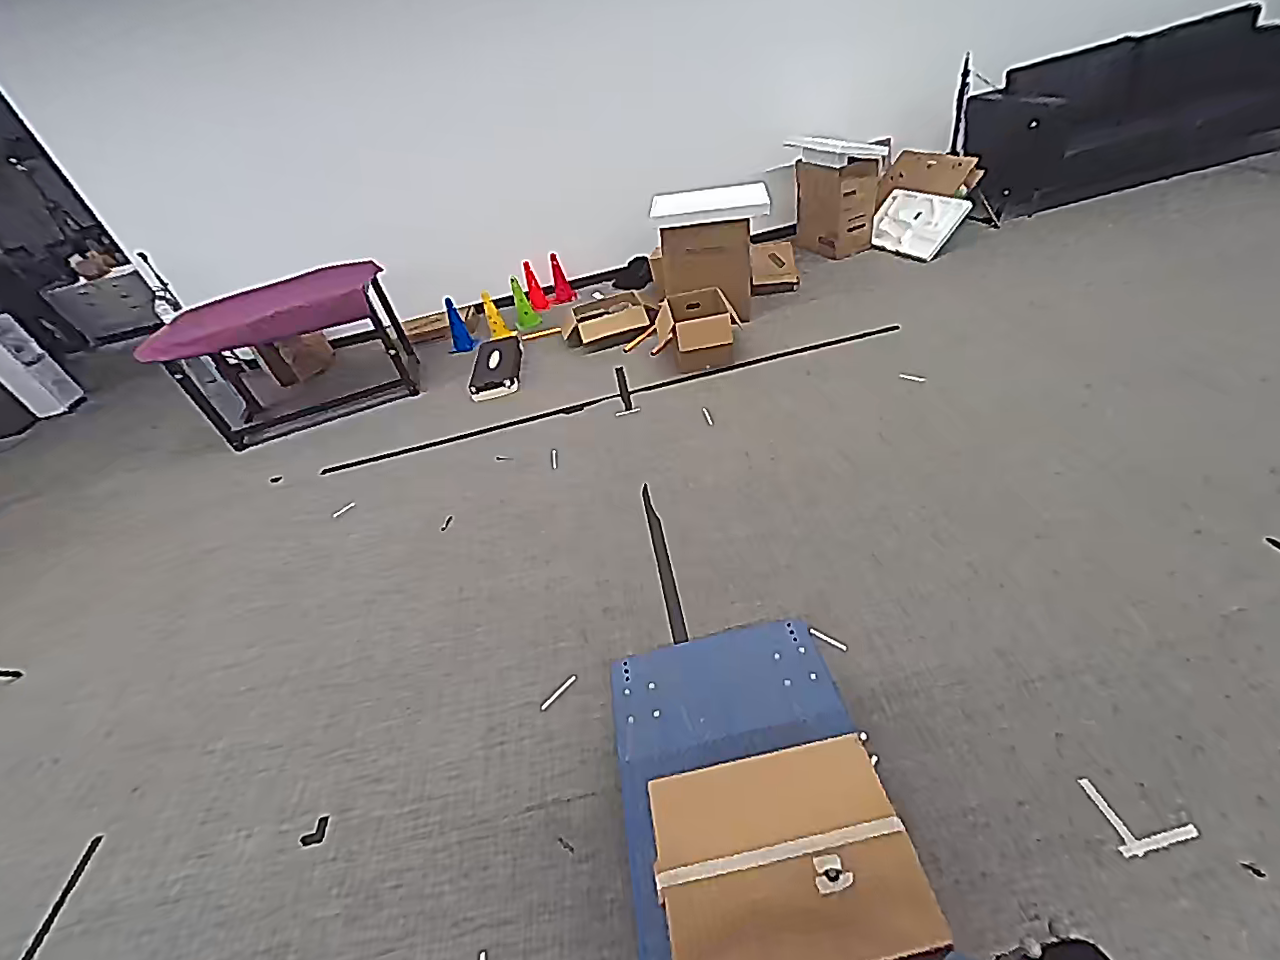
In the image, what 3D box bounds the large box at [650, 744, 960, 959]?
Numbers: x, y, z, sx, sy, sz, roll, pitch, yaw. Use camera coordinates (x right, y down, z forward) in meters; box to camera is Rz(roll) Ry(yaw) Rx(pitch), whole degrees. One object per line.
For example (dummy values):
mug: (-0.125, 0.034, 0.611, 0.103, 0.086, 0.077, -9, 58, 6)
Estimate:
large box: (0.256, 0.731, 0.953, 0.408, 0.320, 0.320, -13, 39, 0)
